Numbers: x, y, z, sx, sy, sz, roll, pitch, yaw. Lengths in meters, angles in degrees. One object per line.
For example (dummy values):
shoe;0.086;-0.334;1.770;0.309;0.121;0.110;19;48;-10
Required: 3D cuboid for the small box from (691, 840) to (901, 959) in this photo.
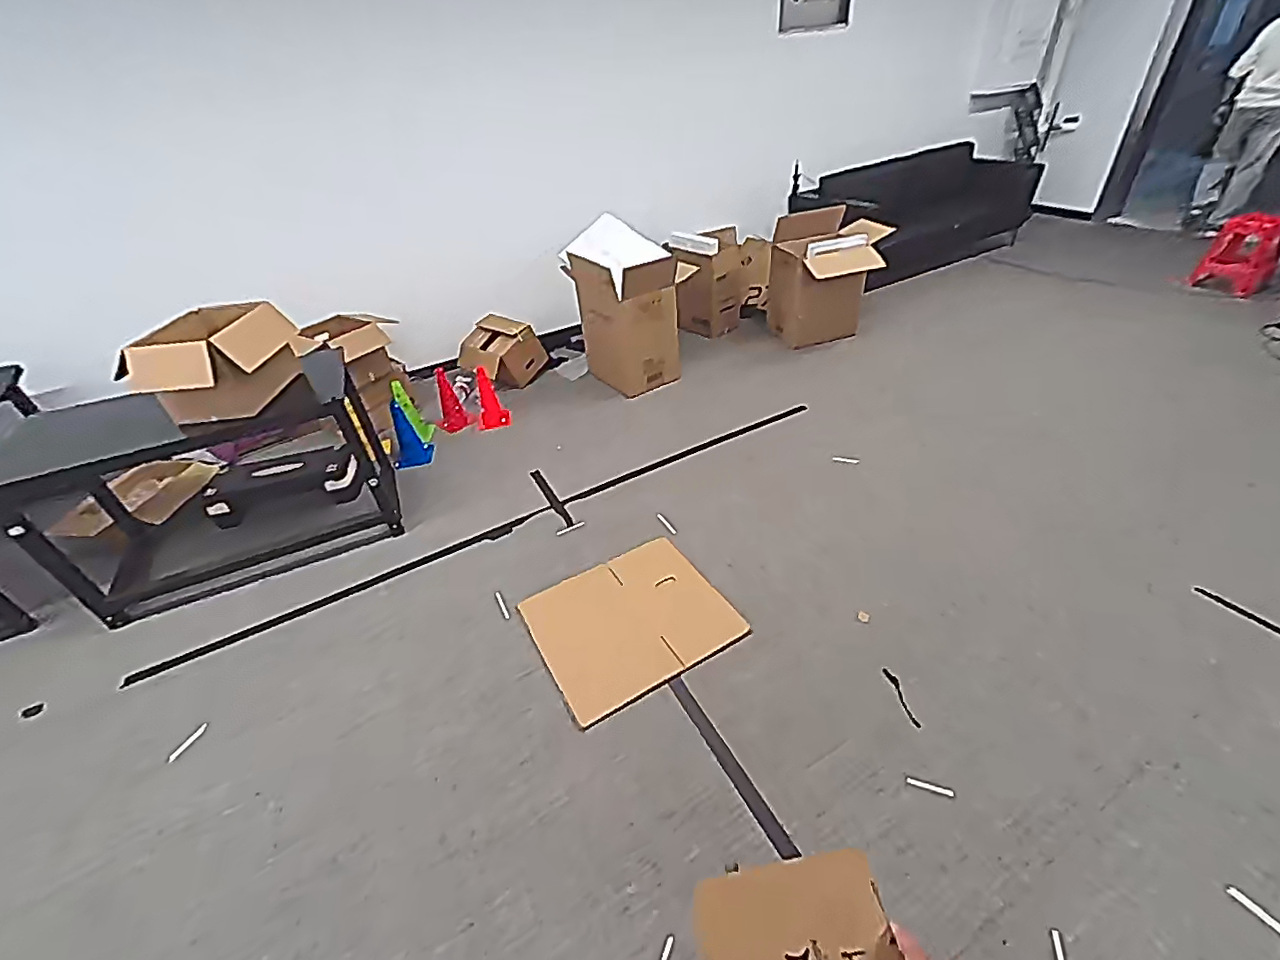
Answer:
small box;0.153;0.498;0.549;0.179;0.176;0.168;-7;44;-7
